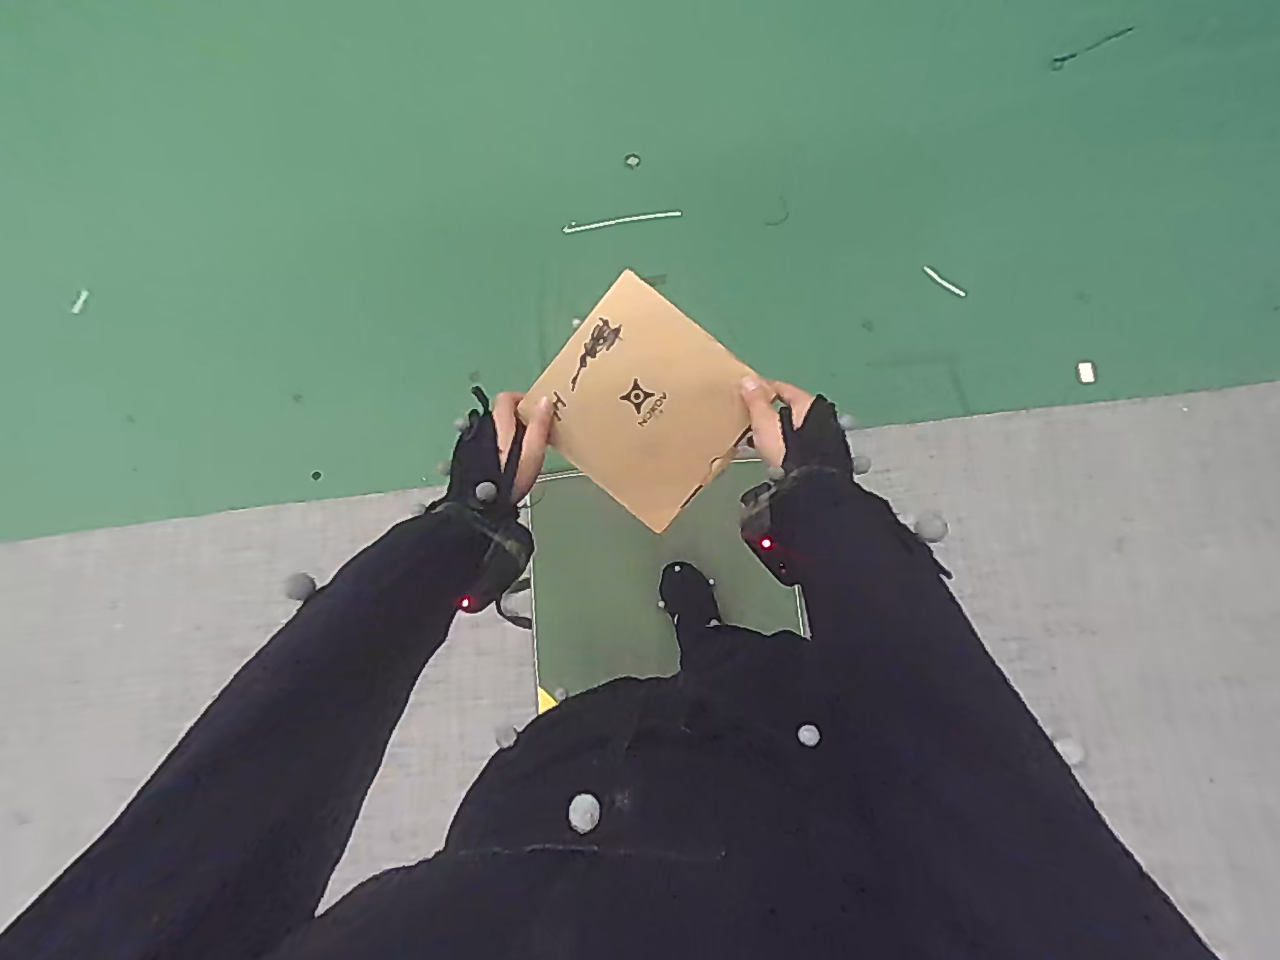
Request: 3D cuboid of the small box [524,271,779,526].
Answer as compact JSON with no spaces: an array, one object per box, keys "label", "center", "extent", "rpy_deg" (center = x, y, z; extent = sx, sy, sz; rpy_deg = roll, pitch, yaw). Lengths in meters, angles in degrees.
[{"label":"small box","center":[0.014,-0.078,0.567],"extent":[0.179,0.176,0.168],"rpy_deg":[40,94,1]}]
